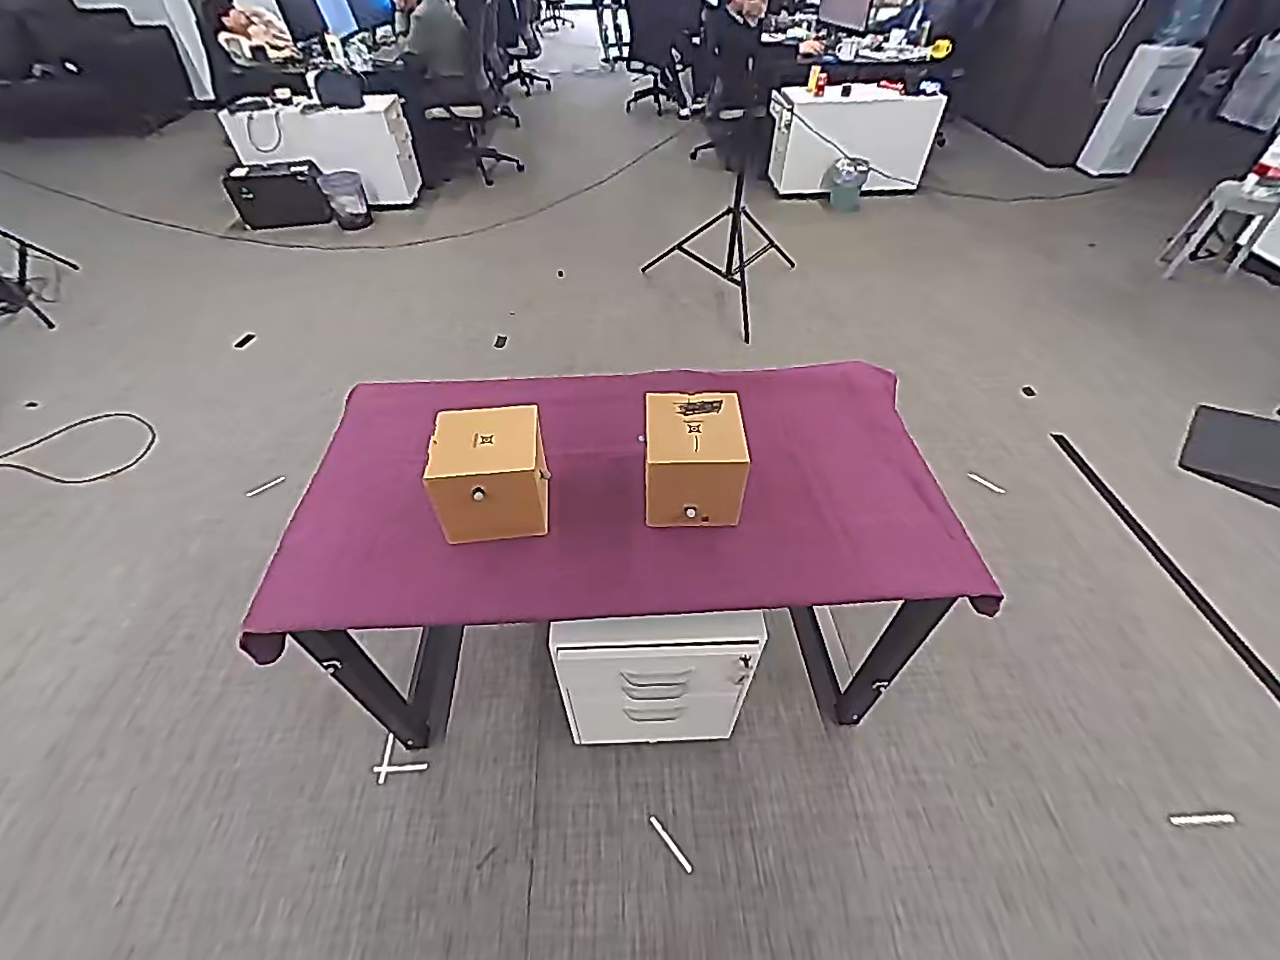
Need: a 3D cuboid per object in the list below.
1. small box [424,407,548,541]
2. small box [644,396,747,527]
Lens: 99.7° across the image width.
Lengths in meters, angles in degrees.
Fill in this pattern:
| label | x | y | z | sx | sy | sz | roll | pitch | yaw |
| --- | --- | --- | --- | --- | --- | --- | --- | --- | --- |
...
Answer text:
| label | x | y | z | sx | sy | sz | roll | pitch | yaw |
| --- | --- | --- | --- | --- | --- | --- | --- | --- | --- |
| small box | -0.259 | -0.009 | 0.958 | 0.179 | 0.176 | 0.168 | -5 | 47 | -4 |
| small box | 0.091 | -0.034 | 0.978 | 0.168 | 0.176 | 0.179 | -1 | 48 | 0 |
